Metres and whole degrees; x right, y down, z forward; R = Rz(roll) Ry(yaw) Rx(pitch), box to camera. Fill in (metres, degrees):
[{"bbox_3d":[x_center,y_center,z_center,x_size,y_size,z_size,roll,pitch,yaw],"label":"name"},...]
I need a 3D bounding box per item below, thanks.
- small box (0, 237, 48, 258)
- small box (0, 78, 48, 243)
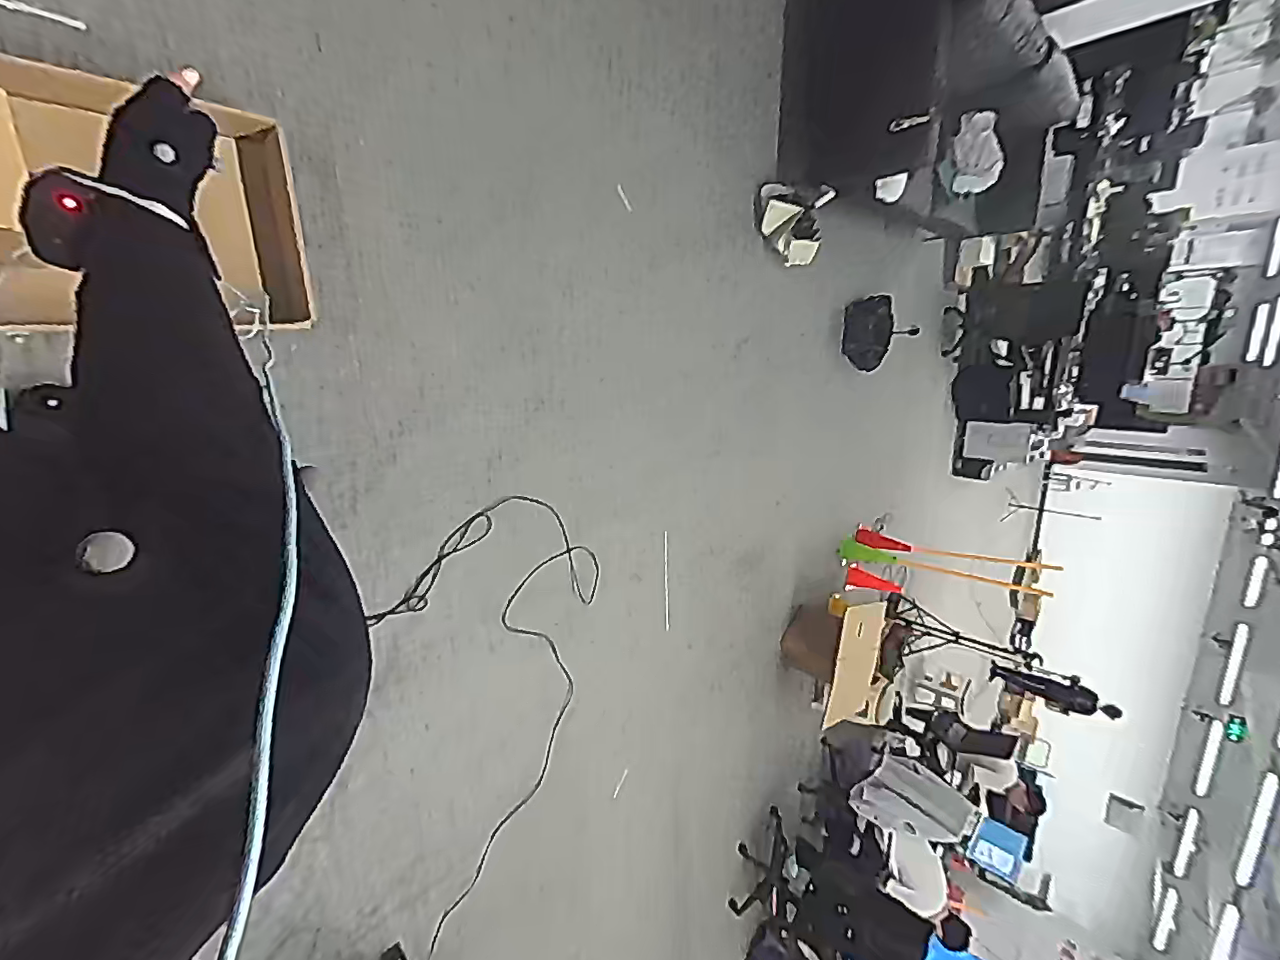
[{"bbox_3d":[-1.038,-0.447,0.818,0.168,0.176,0.179,-14,109,-44],"label":"small box"},{"bbox_3d":[-0.920,-0.425,0.708,0.168,0.176,0.179,-16,110,-44],"label":"small box"}]
